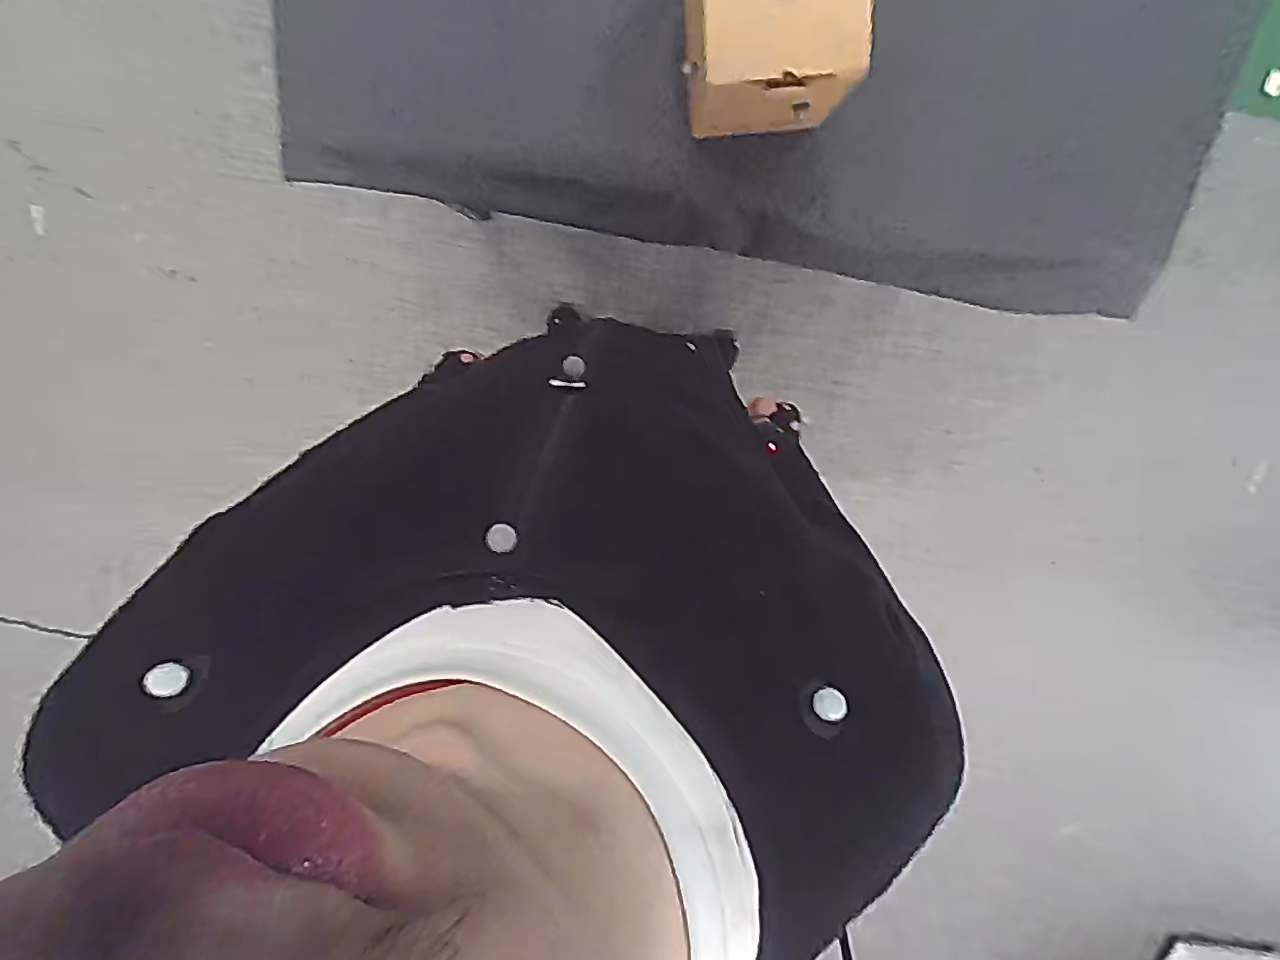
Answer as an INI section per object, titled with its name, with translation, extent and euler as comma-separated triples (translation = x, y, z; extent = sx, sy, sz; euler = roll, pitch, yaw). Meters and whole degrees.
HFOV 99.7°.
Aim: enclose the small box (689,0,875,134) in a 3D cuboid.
[small box]
translation = 0.148, -0.509, 0.605
extent = 0.168, 0.176, 0.179
euler = -5, 106, 0
